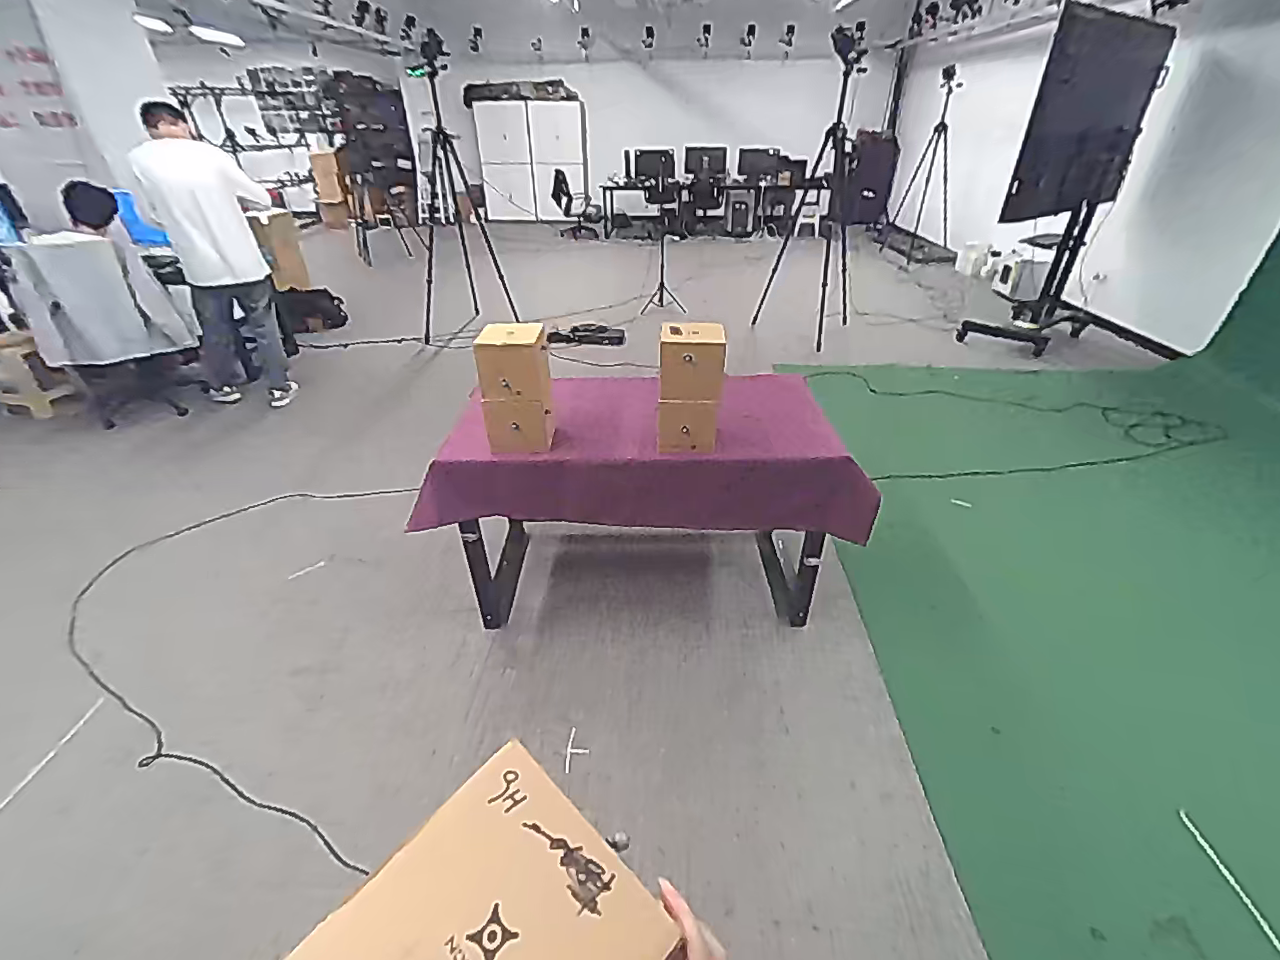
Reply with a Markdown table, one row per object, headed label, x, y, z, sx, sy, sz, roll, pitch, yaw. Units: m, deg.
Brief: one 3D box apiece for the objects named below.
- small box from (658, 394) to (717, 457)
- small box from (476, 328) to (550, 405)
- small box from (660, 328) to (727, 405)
| label | x | y | z | sx | sy | sz | roll | pitch | yaw |
| --- | --- | --- | --- | --- | --- | --- | --- | --- | --- |
| small box | 0.139 | -0.179 | 1.608 | 0.168 | 0.176 | 0.179 | 2 | 33 | 2 |
| small box | -0.351 | -0.324 | 1.532 | 0.168 | 0.176 | 0.179 | 0 | 33 | 0 |
| small box | 0.147 | -0.319 | 1.521 | 0.179 | 0.176 | 0.168 | 2 | 33 | 3 |
